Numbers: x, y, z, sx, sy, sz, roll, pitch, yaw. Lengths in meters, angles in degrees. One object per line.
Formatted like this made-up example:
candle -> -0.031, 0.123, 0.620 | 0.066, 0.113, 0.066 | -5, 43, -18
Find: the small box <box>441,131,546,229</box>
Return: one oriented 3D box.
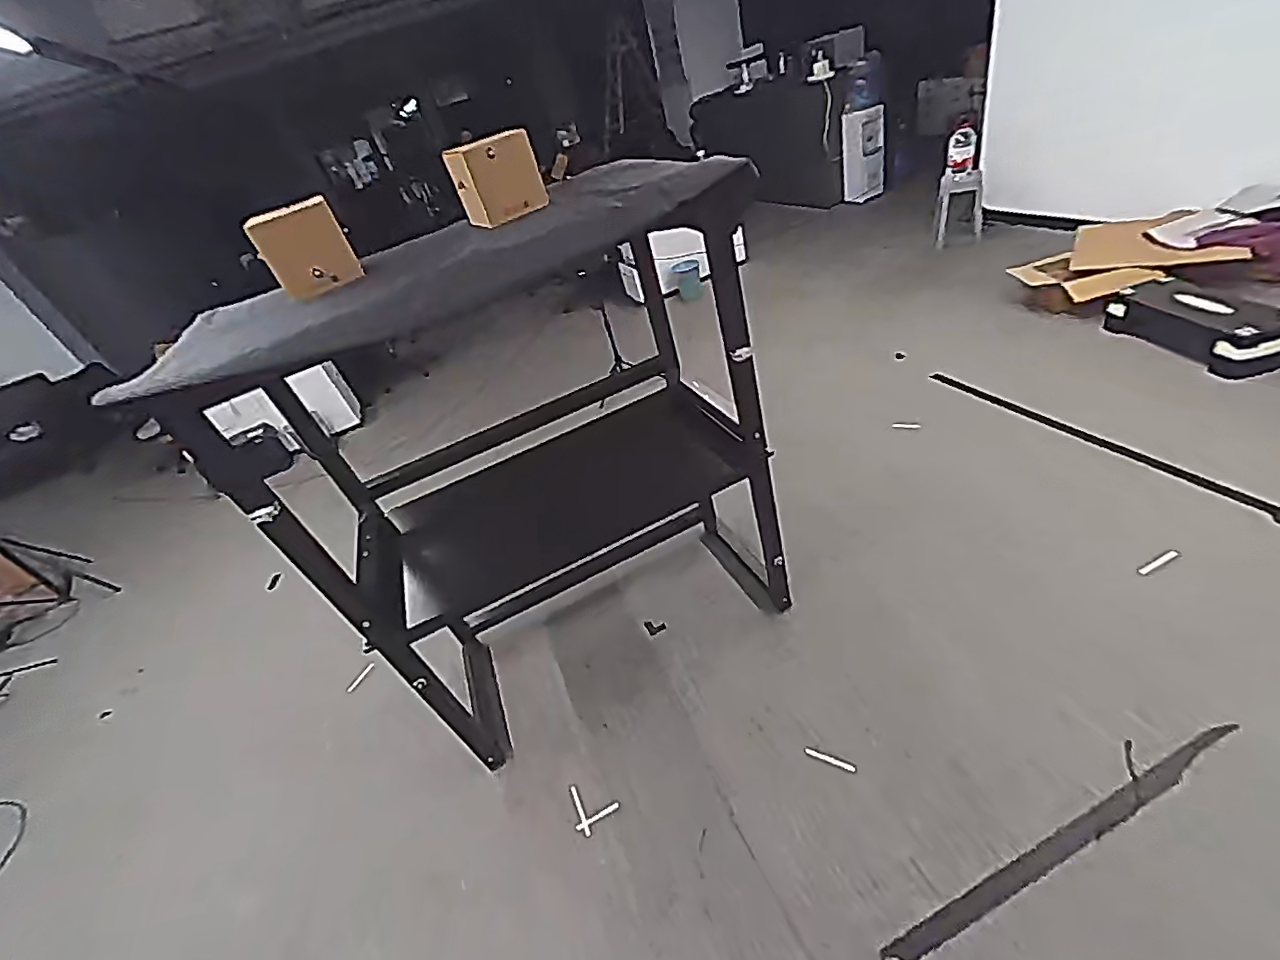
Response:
small box -> -0.358, -0.732, 1.329 | 0.168, 0.176, 0.179 | -32, 38, -17
